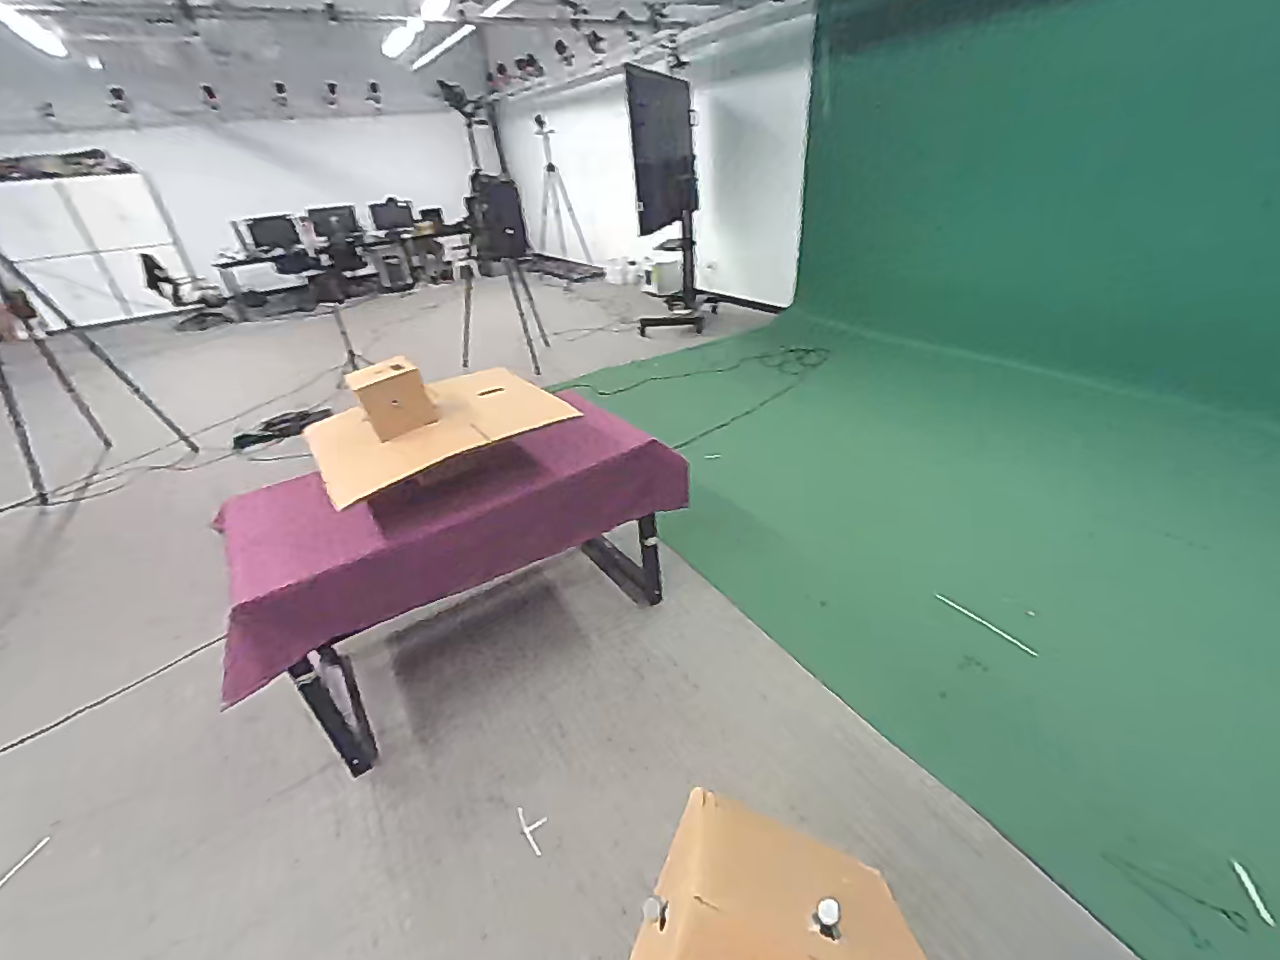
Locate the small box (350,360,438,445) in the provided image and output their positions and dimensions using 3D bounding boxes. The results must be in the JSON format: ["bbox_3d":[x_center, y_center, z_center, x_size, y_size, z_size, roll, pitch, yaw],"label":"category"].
[{"bbox_3d":[-0.715,-0.229,1.589,0.179,0.176,0.168,-29,38,-22],"label":"small box"}]
